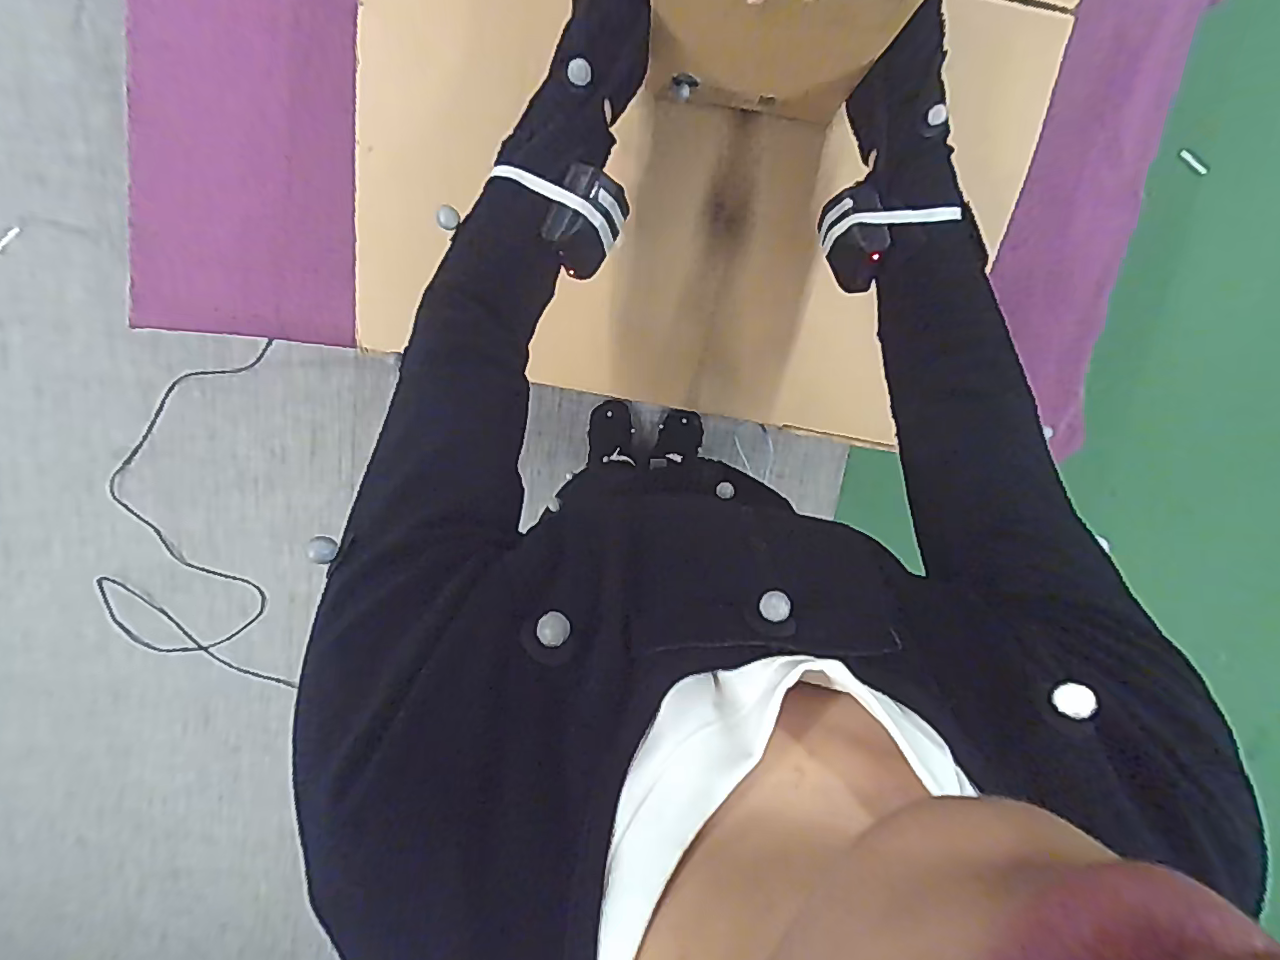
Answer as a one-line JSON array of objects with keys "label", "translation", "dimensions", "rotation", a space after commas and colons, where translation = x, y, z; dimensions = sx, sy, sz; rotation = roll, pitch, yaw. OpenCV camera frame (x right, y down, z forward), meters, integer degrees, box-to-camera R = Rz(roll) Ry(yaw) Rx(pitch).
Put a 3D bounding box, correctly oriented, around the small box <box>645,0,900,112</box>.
[{"label": "small box", "translation": [0.095, -0.396, 0.378], "dimensions": [0.168, 0.176, 0.179], "rotation": [8, 100, -2]}]
